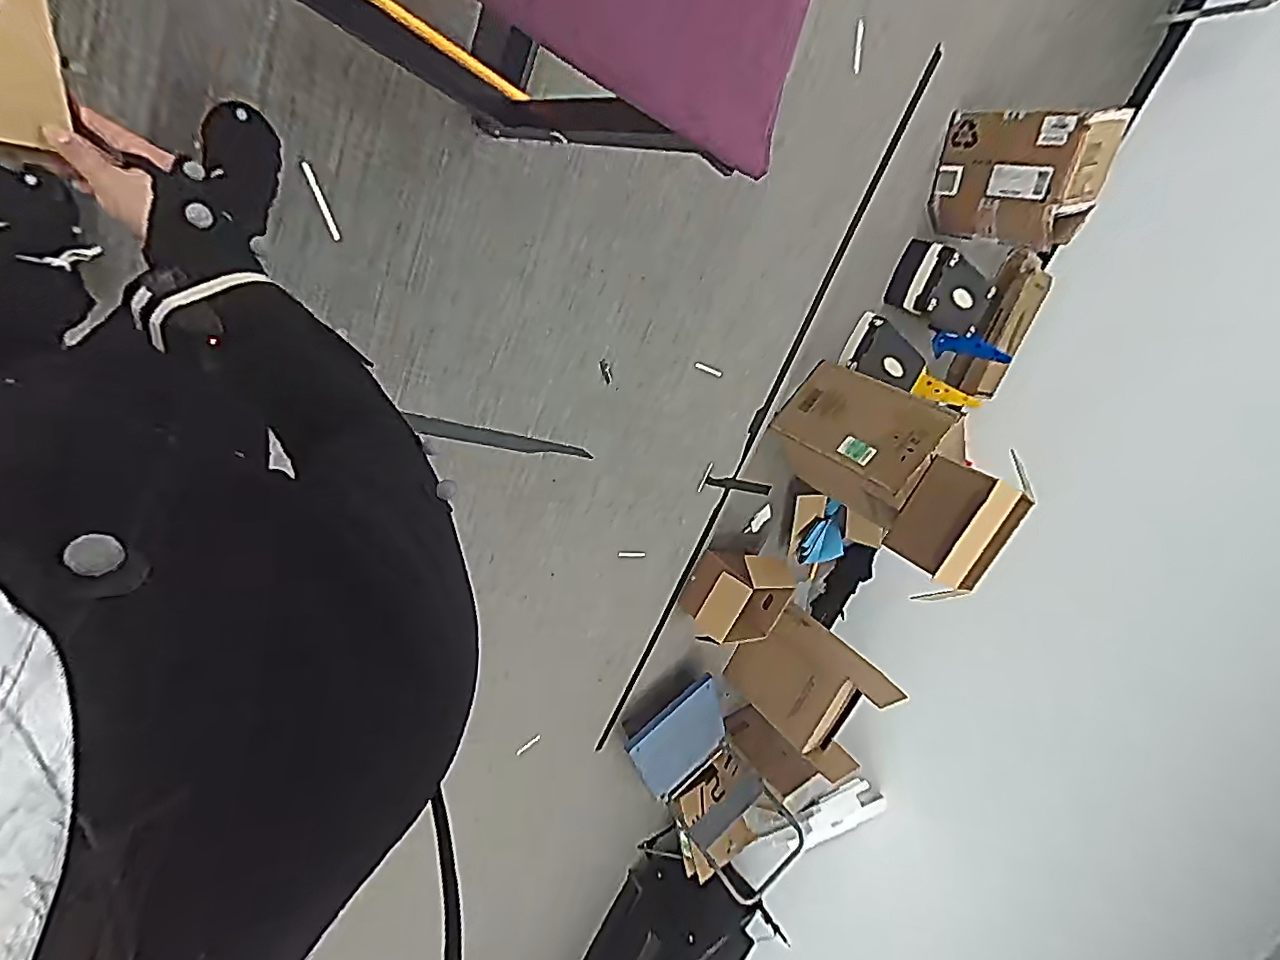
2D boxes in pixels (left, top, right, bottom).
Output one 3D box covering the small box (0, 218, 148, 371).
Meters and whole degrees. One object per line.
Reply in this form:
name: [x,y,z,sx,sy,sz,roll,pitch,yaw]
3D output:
small box: [-0.901,-0.285,0.838,0.179,0.176,0.168,8,109,-50]
